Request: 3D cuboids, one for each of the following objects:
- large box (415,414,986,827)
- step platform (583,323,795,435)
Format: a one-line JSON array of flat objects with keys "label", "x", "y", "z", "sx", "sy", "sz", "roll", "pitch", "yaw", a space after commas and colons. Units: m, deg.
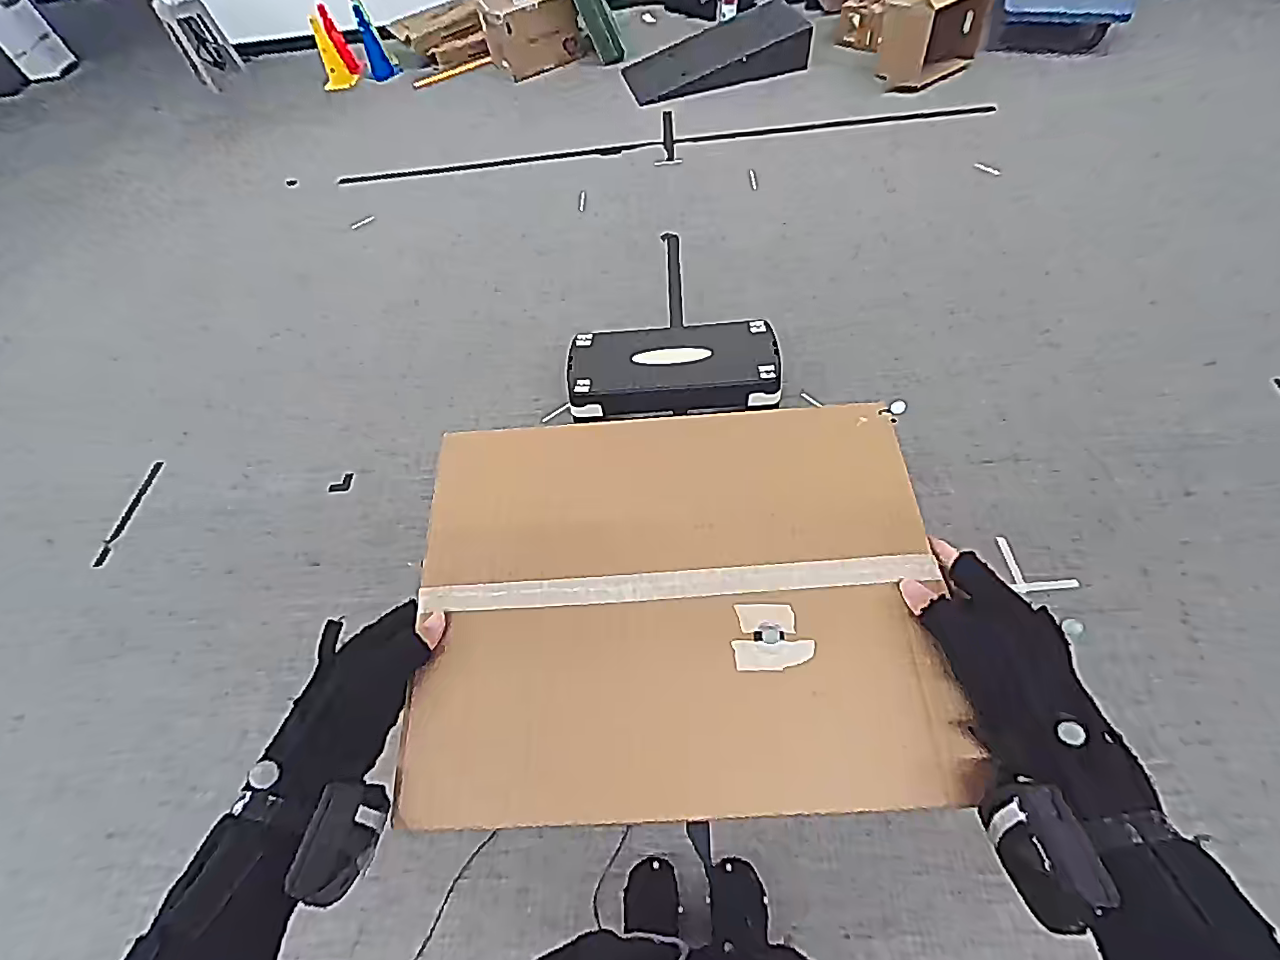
[{"label": "large box", "x": 0.038, "y": 0.157, "z": 0.570, "sx": 0.408, "sy": 0.320, "sz": 0.320, "roll": -4, "pitch": 63, "yaw": 2}, {"label": "step platform", "x": 0.155, "y": -0.332, "z": 1.779, "sx": 0.684, "sy": 0.204, "sz": 0.286, "roll": -4, "pitch": 57, "yaw": 4}]
